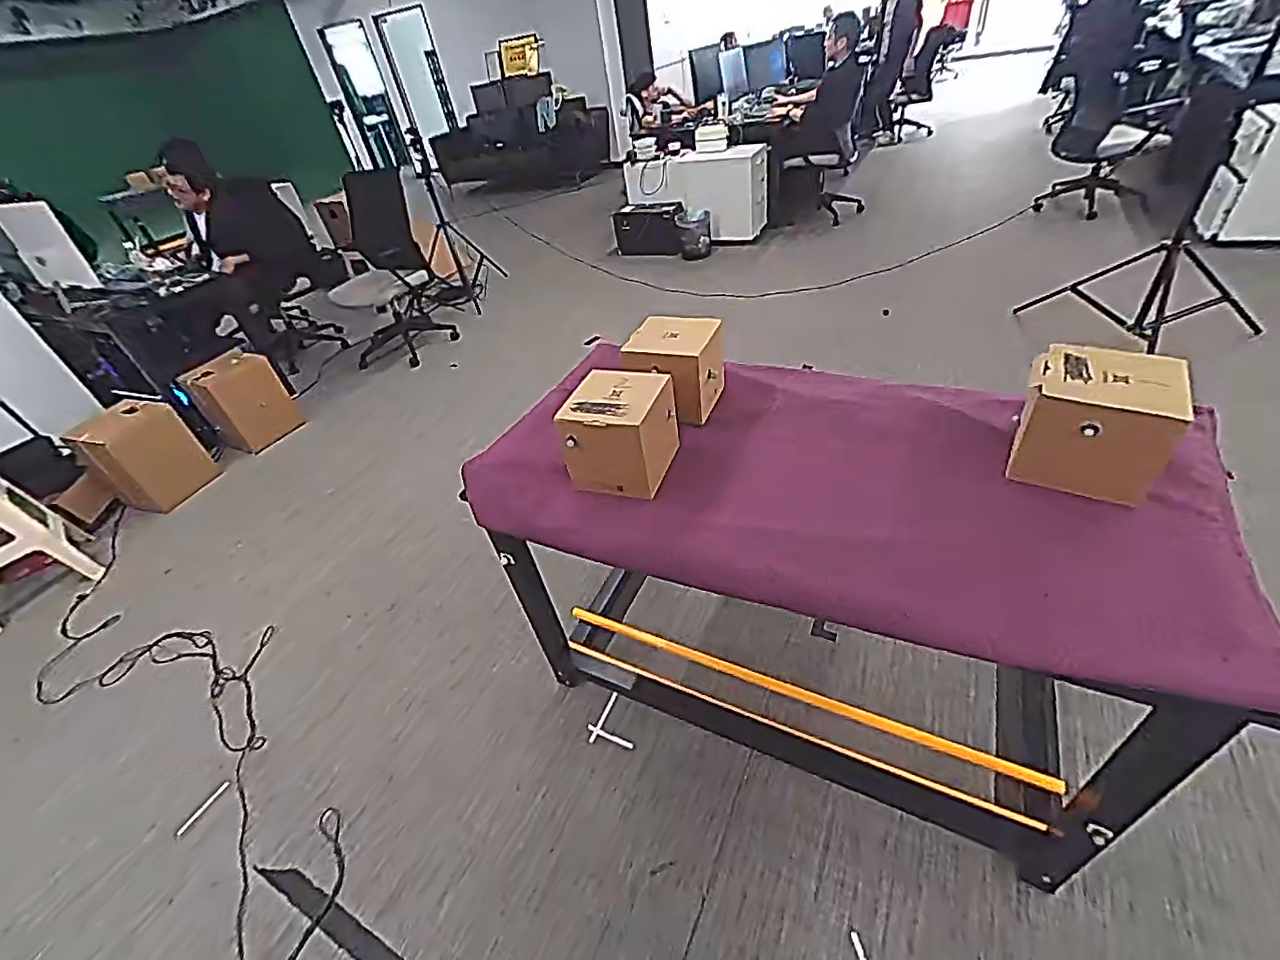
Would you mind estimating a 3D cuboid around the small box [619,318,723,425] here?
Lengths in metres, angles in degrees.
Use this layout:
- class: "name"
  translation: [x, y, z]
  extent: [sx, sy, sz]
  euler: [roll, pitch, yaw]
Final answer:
- class: "small box"
  translation: [0.077, -0.238, 1.184]
  extent: [0.179, 0.176, 0.168]
  euler: [10, 44, 23]

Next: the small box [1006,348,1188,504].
- class: "small box"
  translation: [0.711, -0.086, 0.858]
  extent: [0.179, 0.176, 0.168]
  euler: [18, 49, 29]
